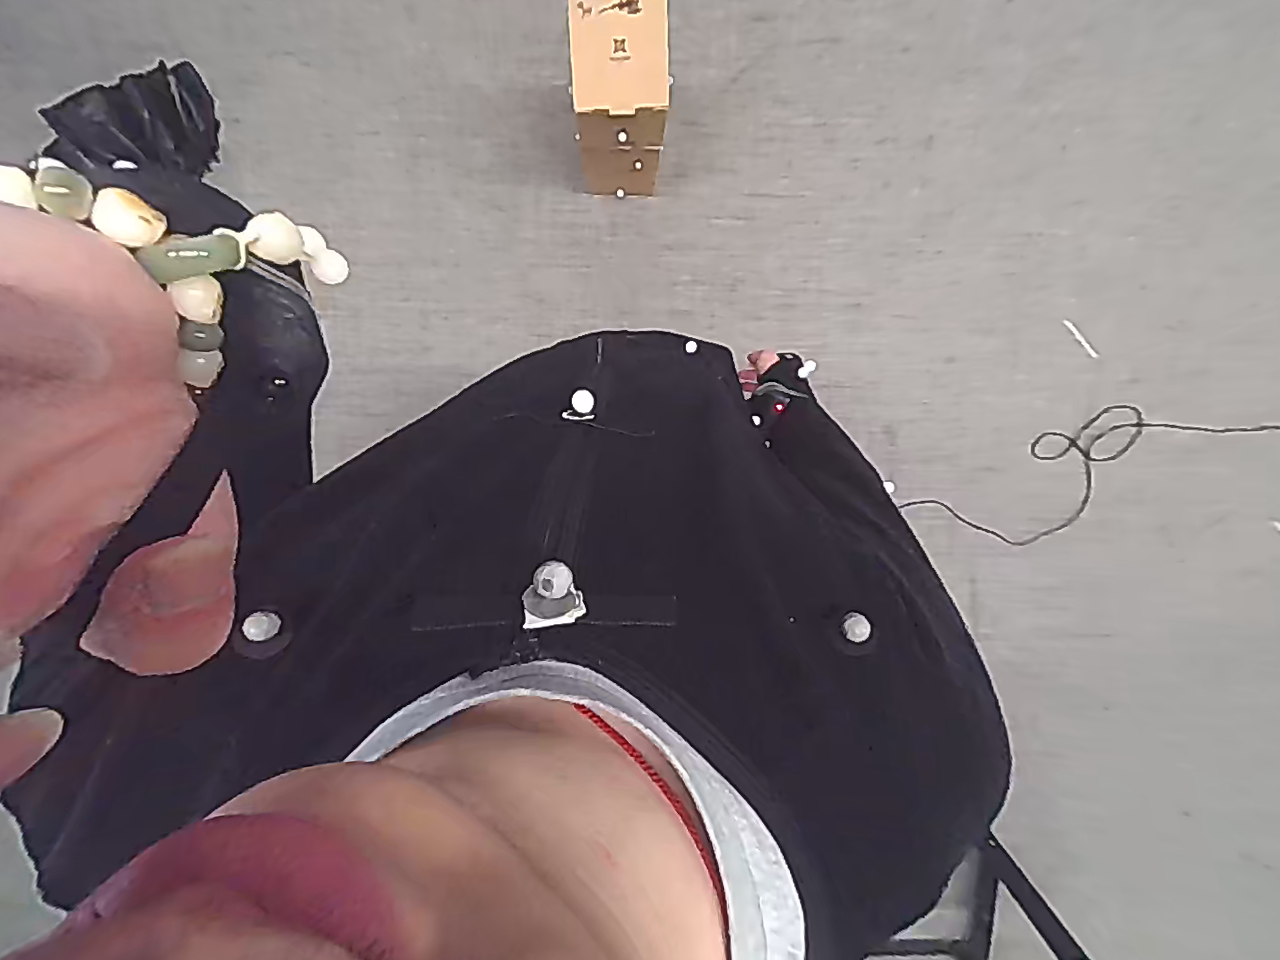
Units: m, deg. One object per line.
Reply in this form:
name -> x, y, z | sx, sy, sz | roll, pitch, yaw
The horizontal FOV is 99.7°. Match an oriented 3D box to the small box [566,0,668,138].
small box -> -0.035, -0.733, 0.966 | 0.168, 0.176, 0.179 | -2, 104, 0

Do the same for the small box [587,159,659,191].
small box -> -0.038, -0.807, 1.282 | 0.168, 0.176, 0.179 | 0, 103, 0

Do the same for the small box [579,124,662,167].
small box -> -0.037, -0.771, 1.125 | 0.168, 0.176, 0.179 | -1, 102, -1
